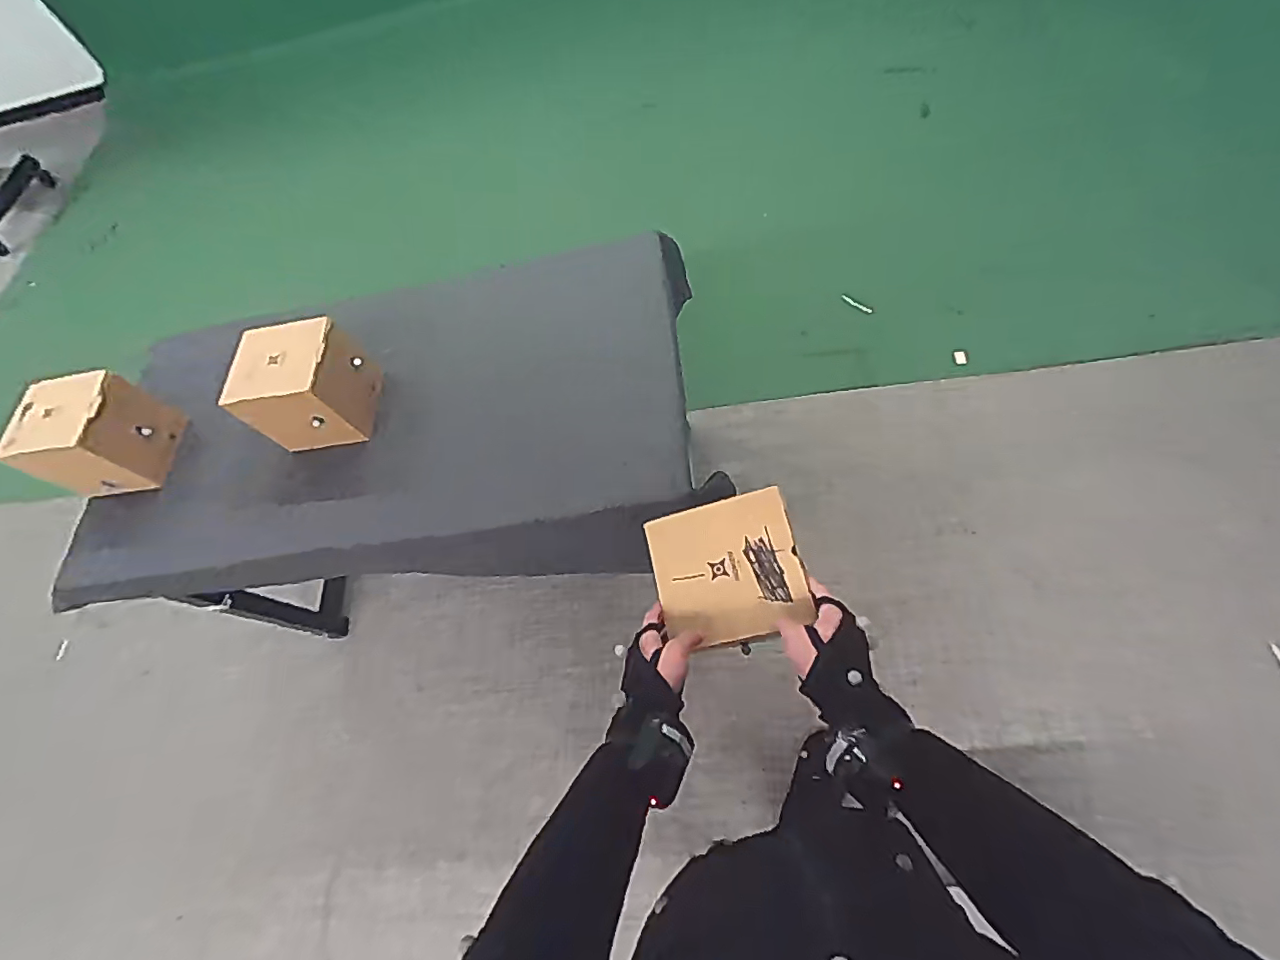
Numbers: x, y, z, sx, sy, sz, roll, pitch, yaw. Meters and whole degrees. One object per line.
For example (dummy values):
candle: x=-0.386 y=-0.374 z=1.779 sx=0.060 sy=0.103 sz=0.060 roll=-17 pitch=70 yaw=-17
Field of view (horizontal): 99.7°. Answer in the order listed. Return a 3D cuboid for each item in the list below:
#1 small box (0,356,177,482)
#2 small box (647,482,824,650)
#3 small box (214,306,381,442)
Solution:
small box: x=-1.039 y=-0.109 z=1.019 sx=0.179 sy=0.176 sz=0.168 roll=-6 pitch=62 yaw=5
small box: x=0.126 y=0.120 z=0.701 sx=0.179 sy=0.176 sz=0.168 roll=-16 pitch=68 yaw=12
small box: x=-0.608 y=-0.187 z=0.987 sx=0.179 sy=0.176 sz=0.168 roll=-7 pitch=62 yaw=8
